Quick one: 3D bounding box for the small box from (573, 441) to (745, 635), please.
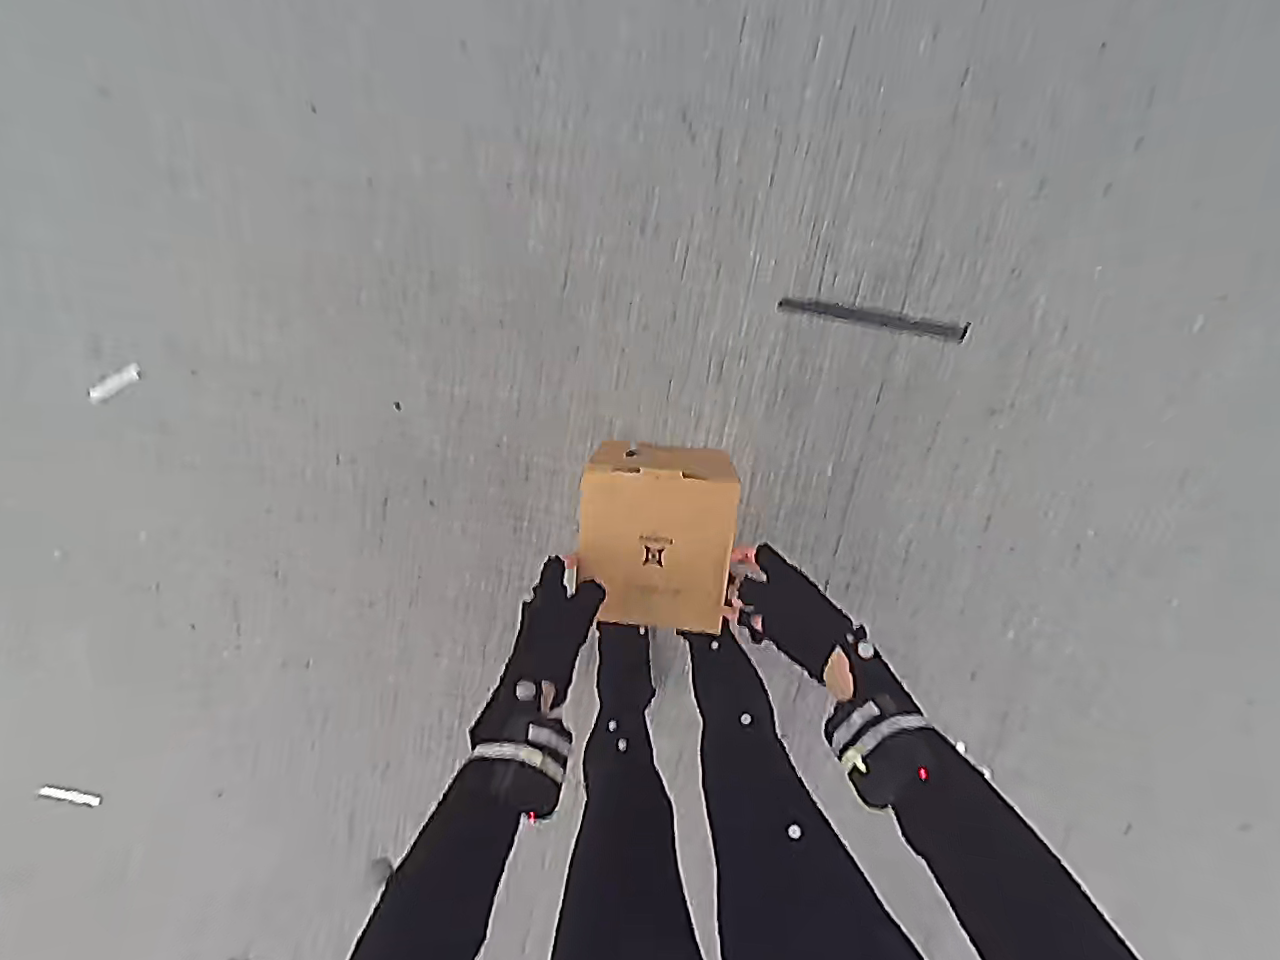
[{"bbox_3d":[0.021,0.056,0.638,0.168,0.176,0.179,6,105,2],"label":"small box"}]
